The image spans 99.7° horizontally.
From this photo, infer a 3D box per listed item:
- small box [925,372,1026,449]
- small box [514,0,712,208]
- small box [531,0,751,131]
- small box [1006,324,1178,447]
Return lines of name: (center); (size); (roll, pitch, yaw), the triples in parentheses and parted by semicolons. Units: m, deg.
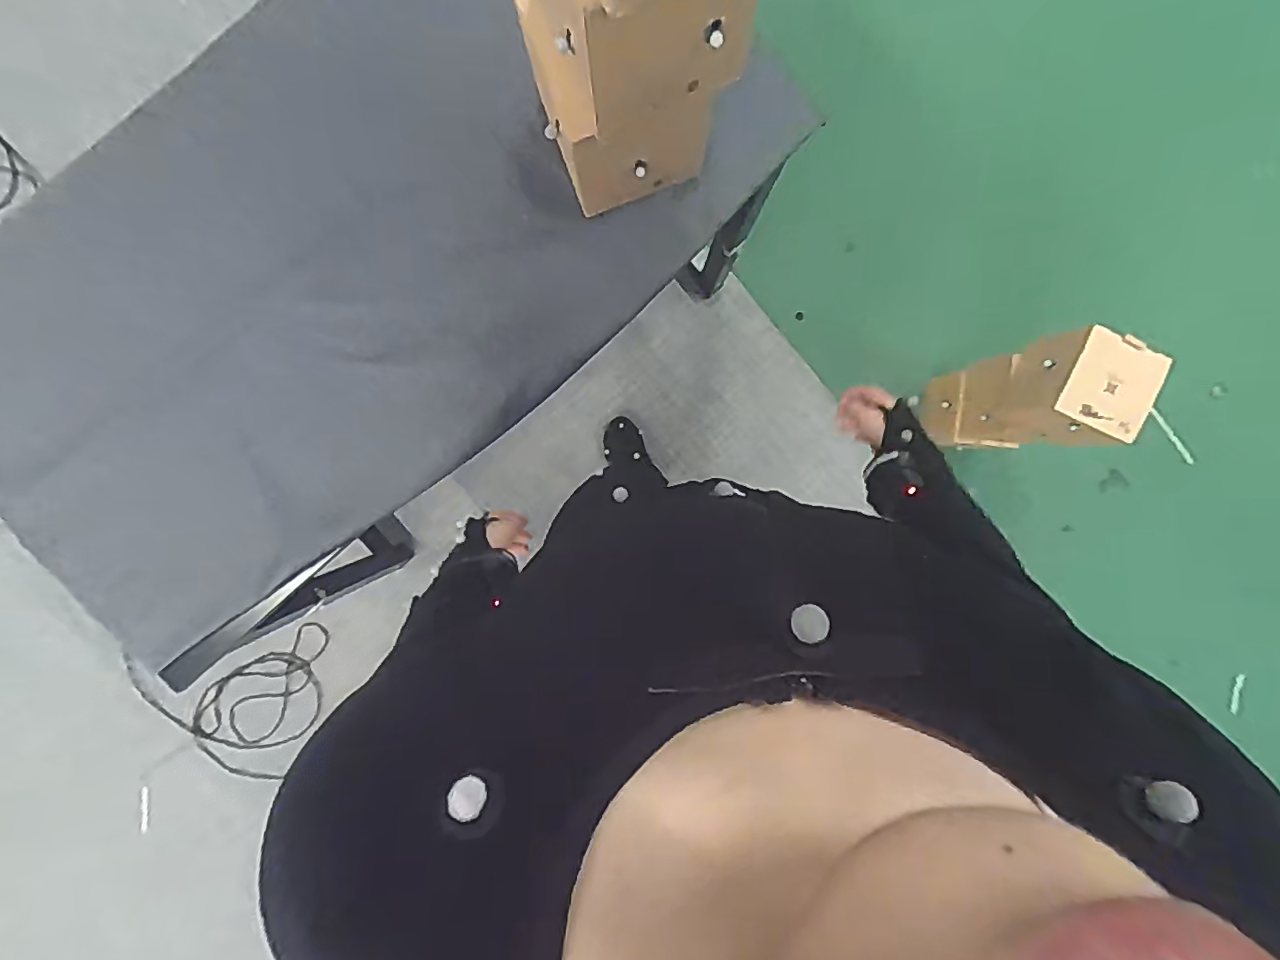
small box: (0.864, -0.173, 1.396); (0.168, 0.176, 0.179); (5, 92, 0)
small box: (-0.027, -0.454, 0.640); (0.168, 0.176, 0.179); (-20, 90, 0)
small box: (-0.006, -0.452, 0.478); (0.168, 0.176, 0.179); (-25, 90, 0)
small box: (0.875, -0.176, 1.067); (0.168, 0.176, 0.179); (24, 92, -1)
